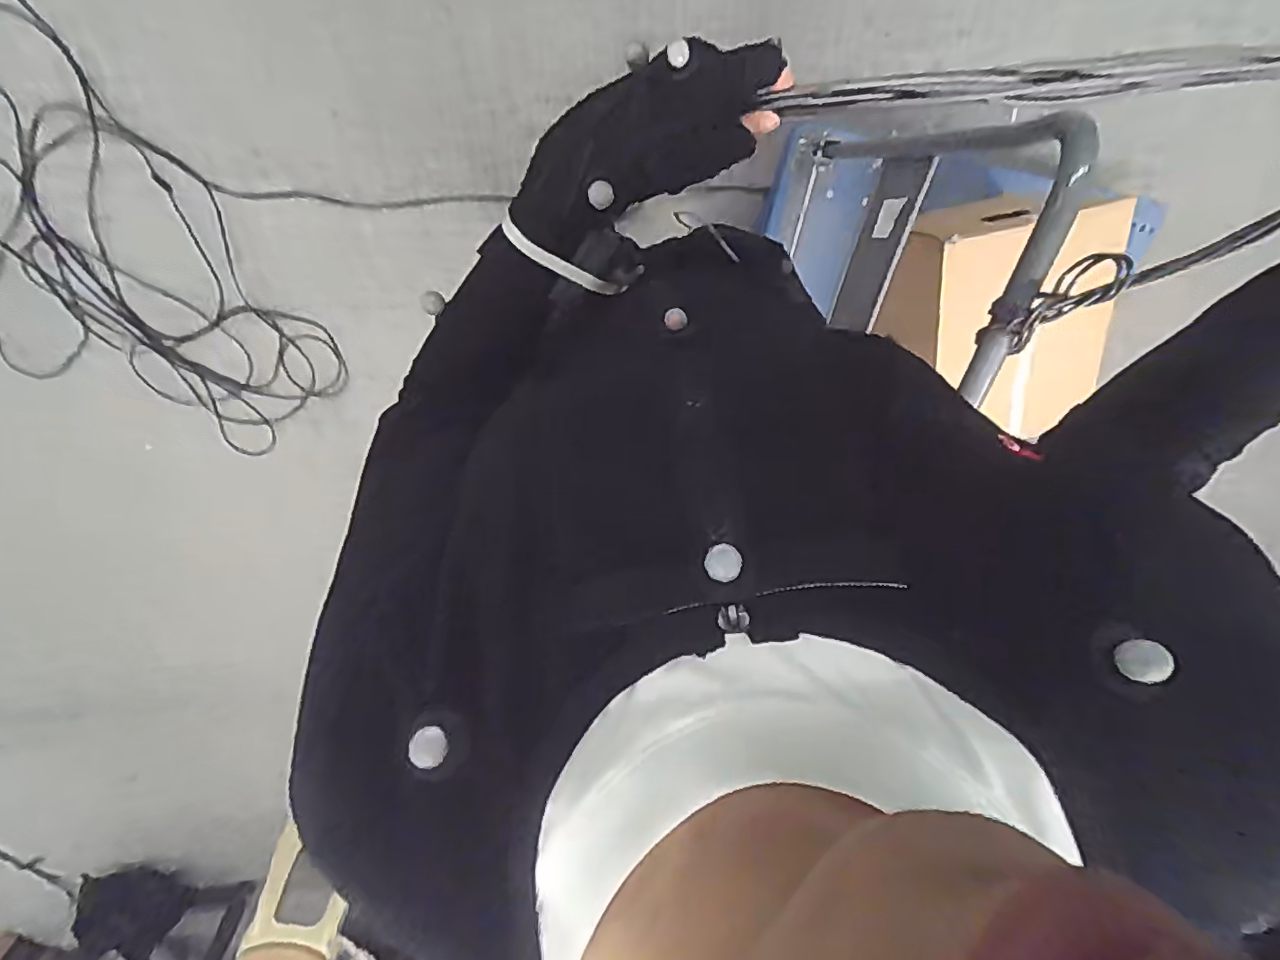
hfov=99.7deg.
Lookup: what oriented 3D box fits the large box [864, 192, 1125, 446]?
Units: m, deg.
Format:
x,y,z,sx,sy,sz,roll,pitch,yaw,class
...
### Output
x,y,z,sx,sy,sz,roll,pitch,yaw,class
0.668,-0.333,1.103,0.320,0.320,0.408,-11,118,1,large box
